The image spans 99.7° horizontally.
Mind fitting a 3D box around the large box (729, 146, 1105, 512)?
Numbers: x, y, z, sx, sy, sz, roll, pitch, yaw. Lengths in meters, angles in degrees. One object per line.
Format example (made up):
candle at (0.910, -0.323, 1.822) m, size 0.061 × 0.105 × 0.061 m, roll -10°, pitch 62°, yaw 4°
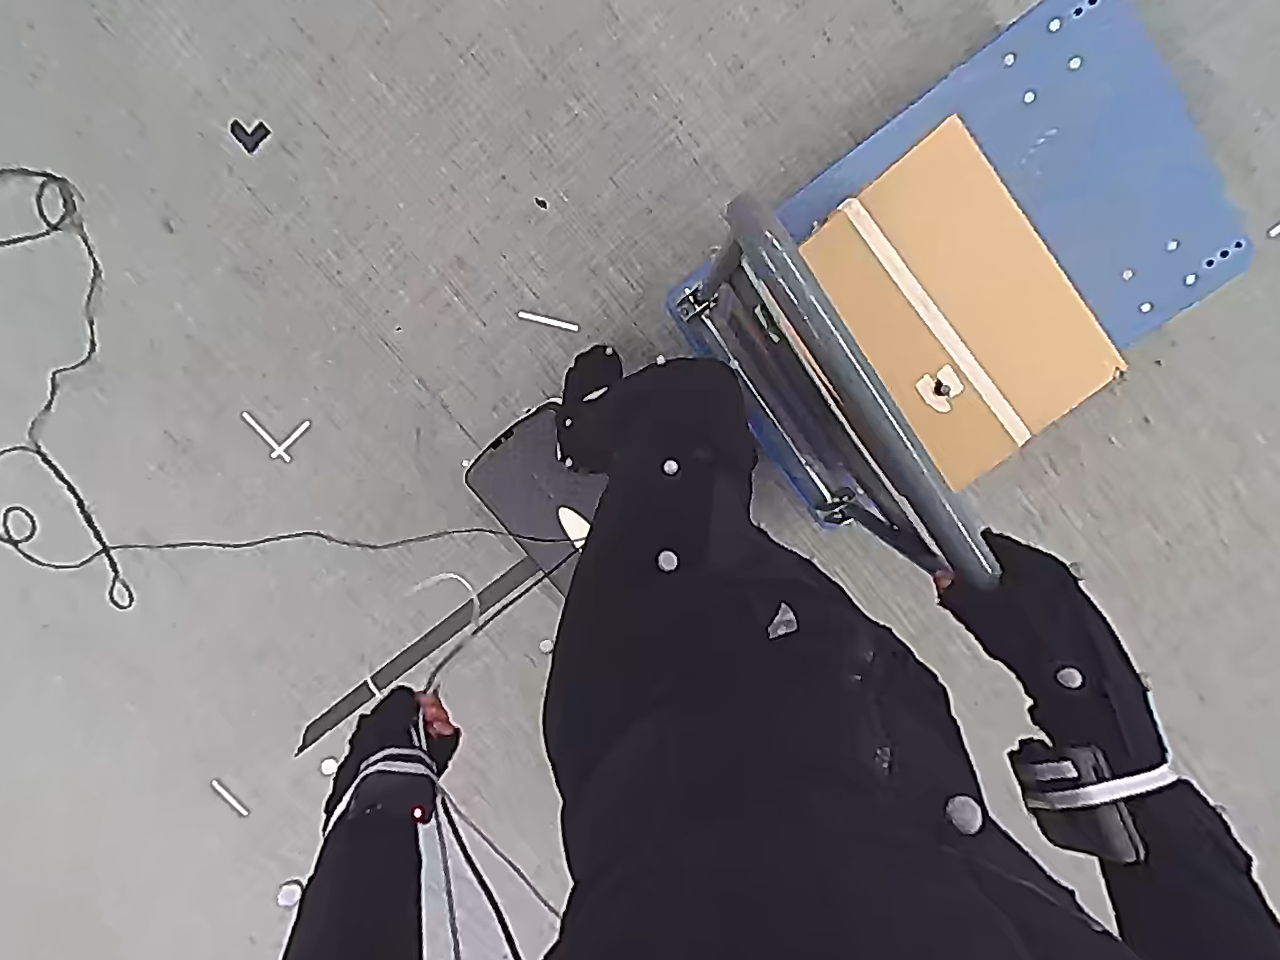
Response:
large box at (0.402, -0.224, 0.887) m, size 0.320 × 0.320 × 0.408 m, roll -40°, pitch 98°, yaw 11°
